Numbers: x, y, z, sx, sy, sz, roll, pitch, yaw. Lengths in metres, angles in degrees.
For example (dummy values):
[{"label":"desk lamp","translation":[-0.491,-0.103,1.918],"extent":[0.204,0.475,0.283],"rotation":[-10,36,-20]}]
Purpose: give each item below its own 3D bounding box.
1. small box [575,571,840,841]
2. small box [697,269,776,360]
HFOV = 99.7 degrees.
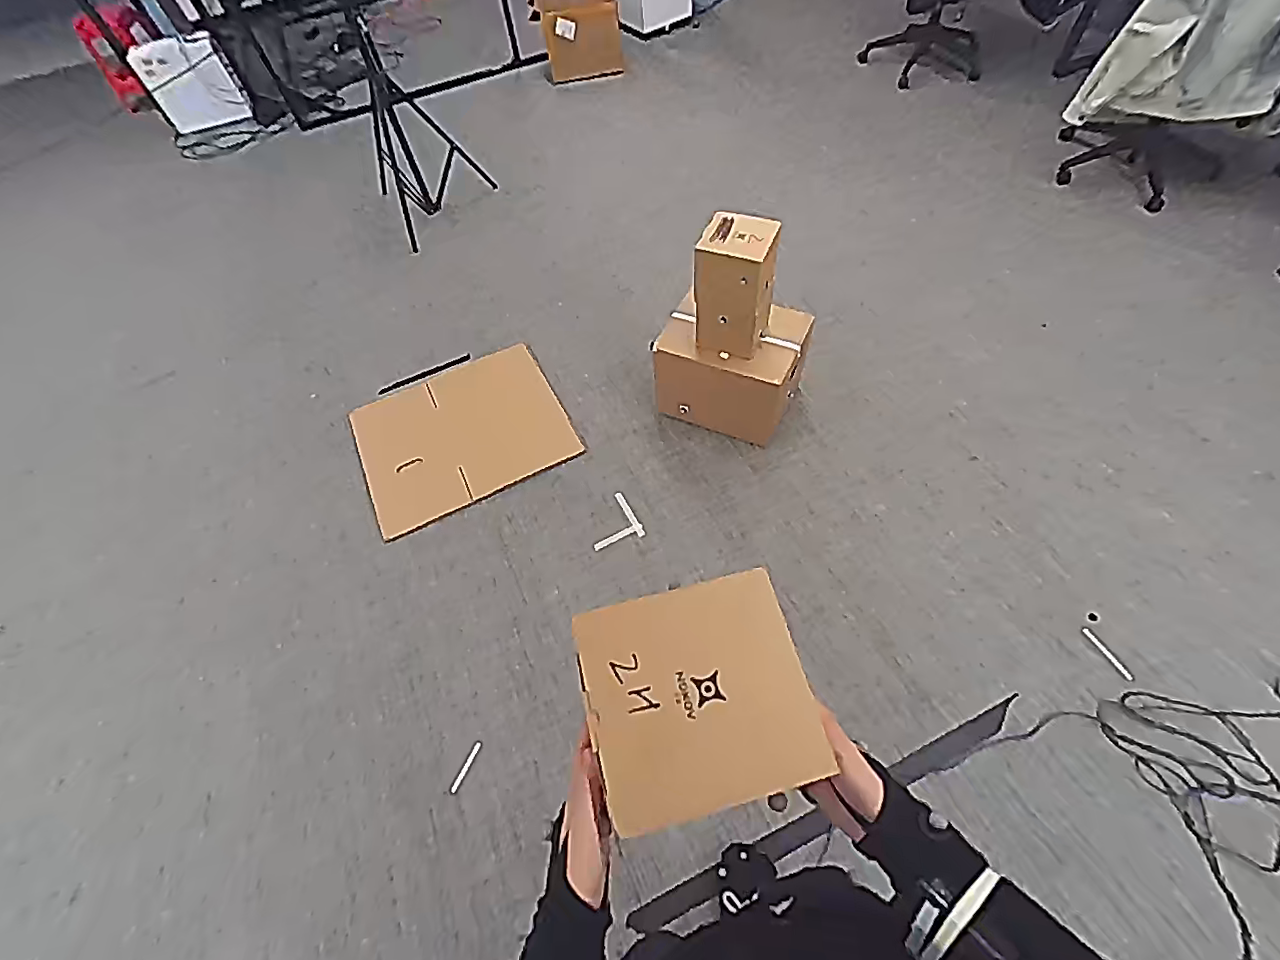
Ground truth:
[{"label":"small box","translation":[0.046,0.200,0.496],"extent":[0.179,0.176,0.168],"rotation":[-13,65,-7]},{"label":"small box","translation":[0.272,-0.472,1.553],"extent":[0.179,0.176,0.168],"rotation":[19,62,16]}]
